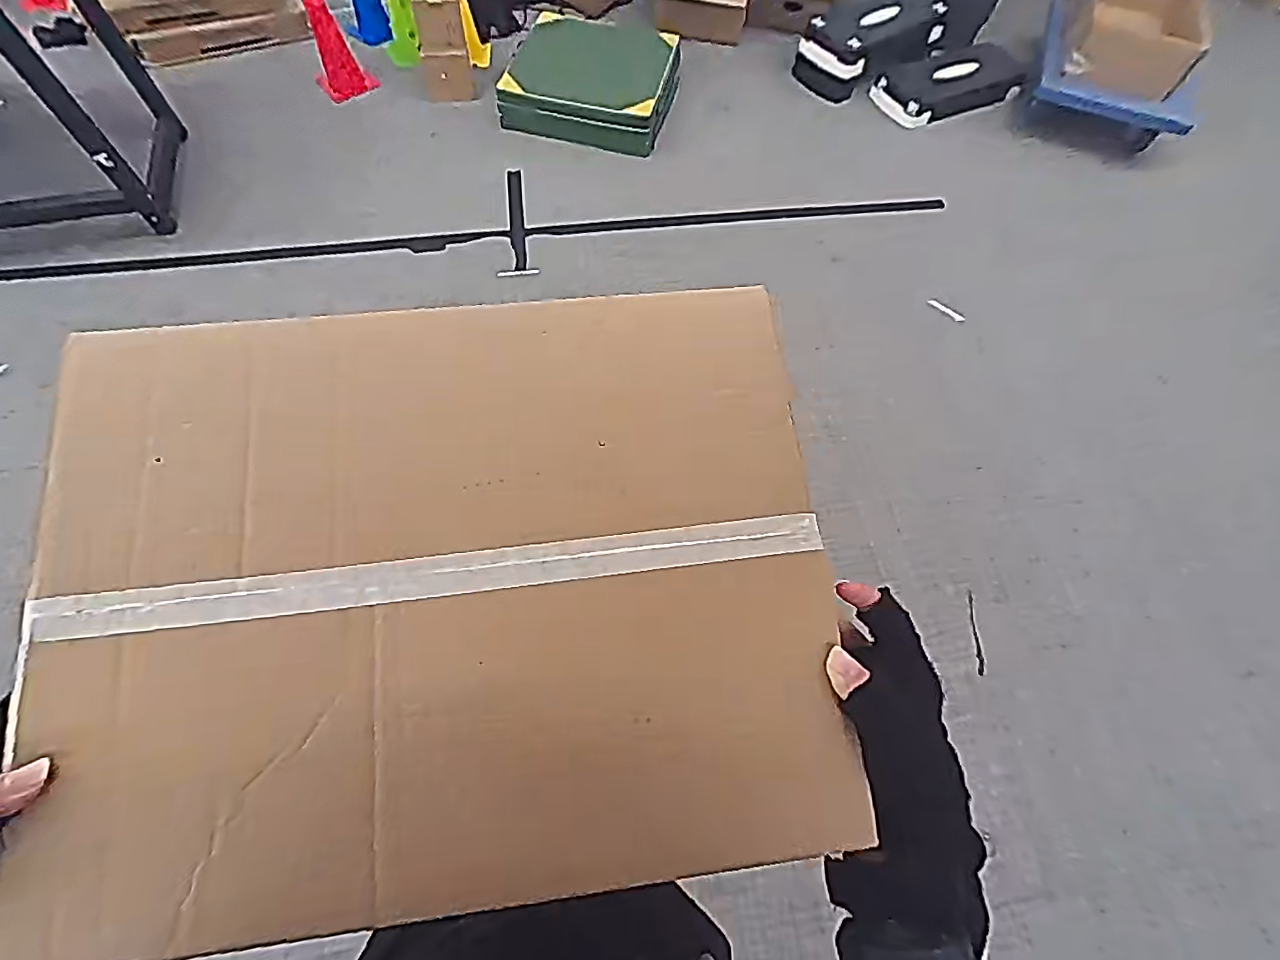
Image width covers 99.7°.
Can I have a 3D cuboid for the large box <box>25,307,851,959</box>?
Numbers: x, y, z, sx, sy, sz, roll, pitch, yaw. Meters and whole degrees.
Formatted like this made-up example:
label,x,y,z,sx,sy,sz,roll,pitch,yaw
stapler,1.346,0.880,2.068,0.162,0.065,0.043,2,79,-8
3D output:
label,x,y,z,sx,sy,sz,roll,pitch,yaw
large box,-0.111,0.093,0.440,0.408,0.320,0.320,-6,76,-5
